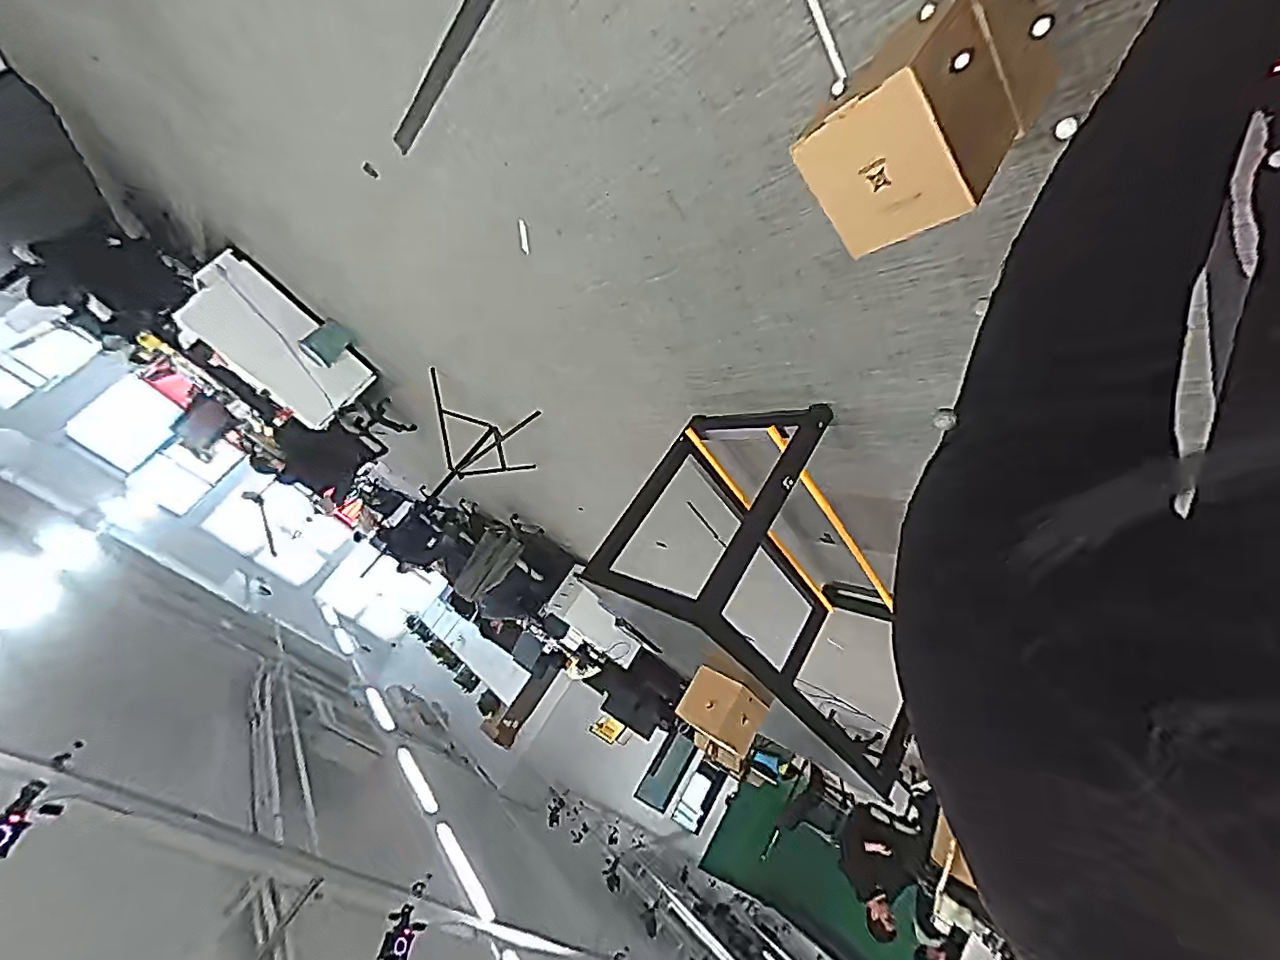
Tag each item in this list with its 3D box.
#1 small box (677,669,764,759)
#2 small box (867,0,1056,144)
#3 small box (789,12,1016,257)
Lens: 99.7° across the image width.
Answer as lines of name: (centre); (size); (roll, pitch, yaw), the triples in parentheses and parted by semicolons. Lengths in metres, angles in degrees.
small box: (0.249, 0.695, 1.626); (0.179, 0.176, 0.168); (7, 146, 52)
small box: (0.420, -0.541, 0.733); (0.168, 0.176, 0.179); (45, 157, -26)
small box: (0.326, -0.423, 0.671); (0.179, 0.176, 0.168); (43, 160, -23)
